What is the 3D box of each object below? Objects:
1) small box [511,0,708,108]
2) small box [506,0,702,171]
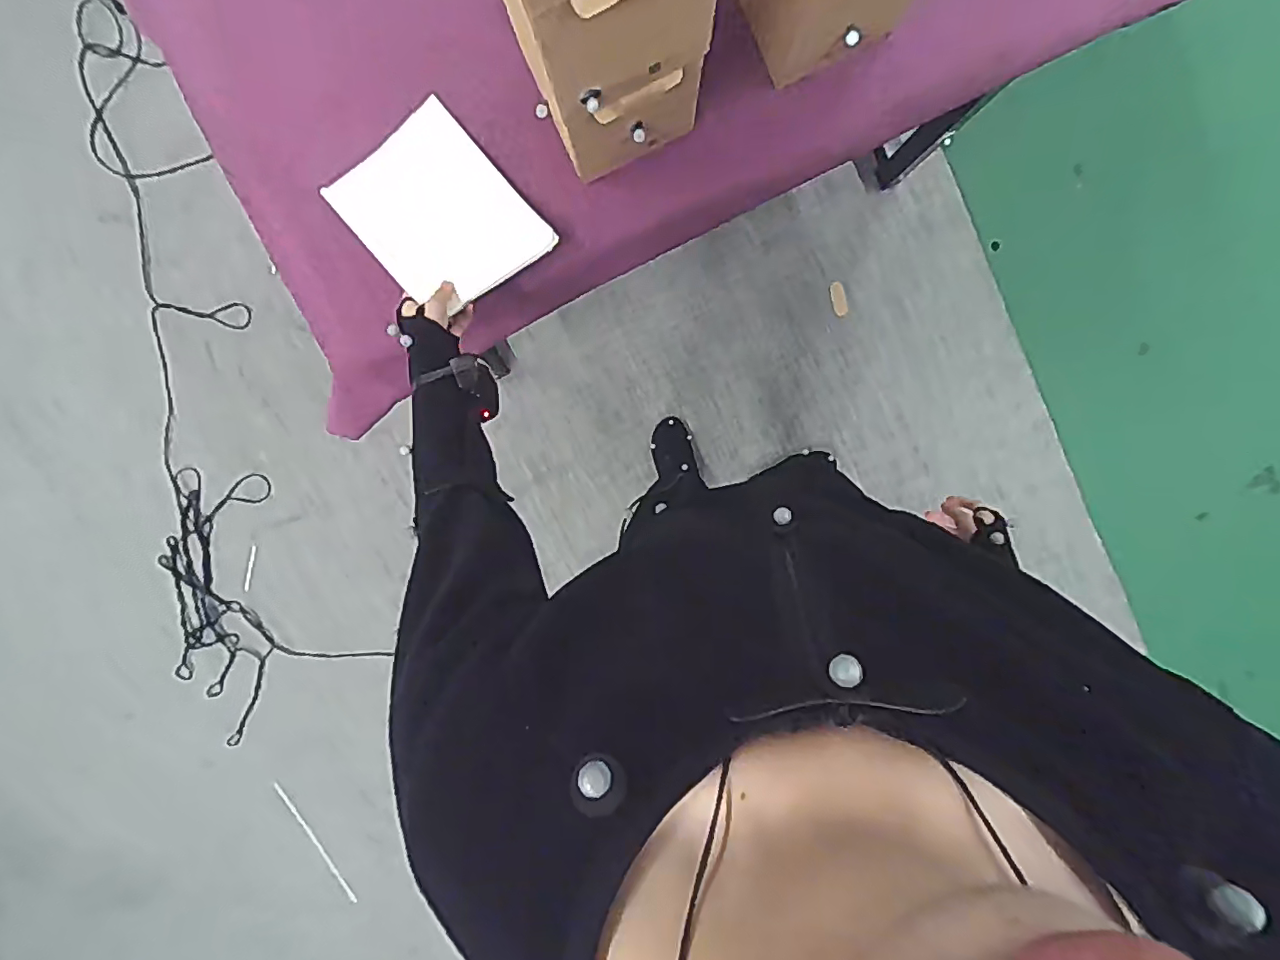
[{"bbox_3d":[-0.042,-0.470,0.471,0.168,0.176,0.179,-24,95,5],"label":"small box"},{"bbox_3d":[-0.039,-0.497,0.634,0.168,0.176,0.179,-25,97,4],"label":"small box"}]
